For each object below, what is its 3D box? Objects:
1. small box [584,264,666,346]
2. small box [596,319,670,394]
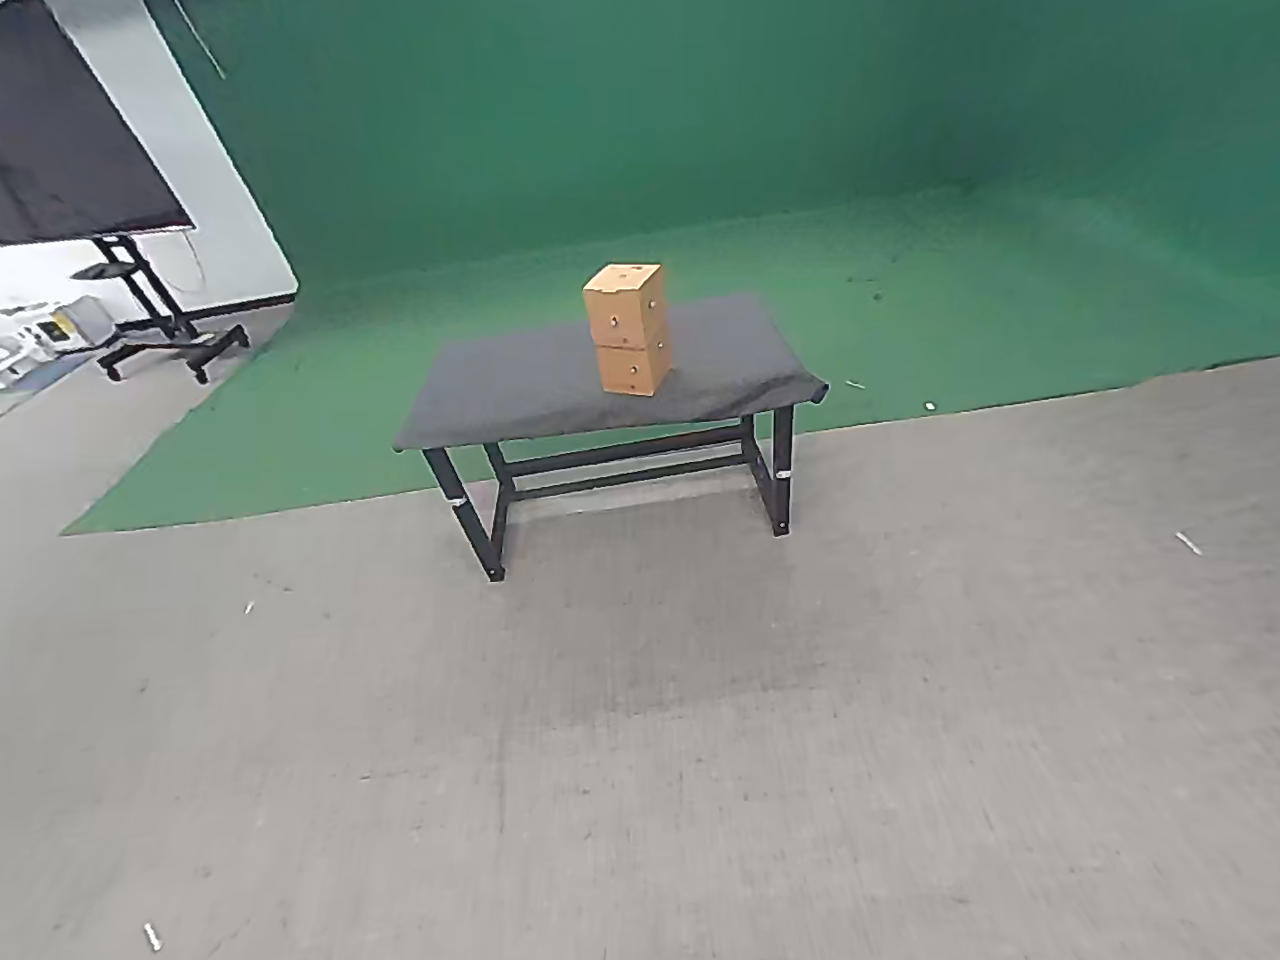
[{"bbox_3d":[-0.033,-0.494,1.527,0.168,0.176,0.179,10,46,21],"label":"small box"},{"bbox_3d":[-0.013,-0.380,1.643,0.168,0.176,0.179,10,43,21],"label":"small box"}]
